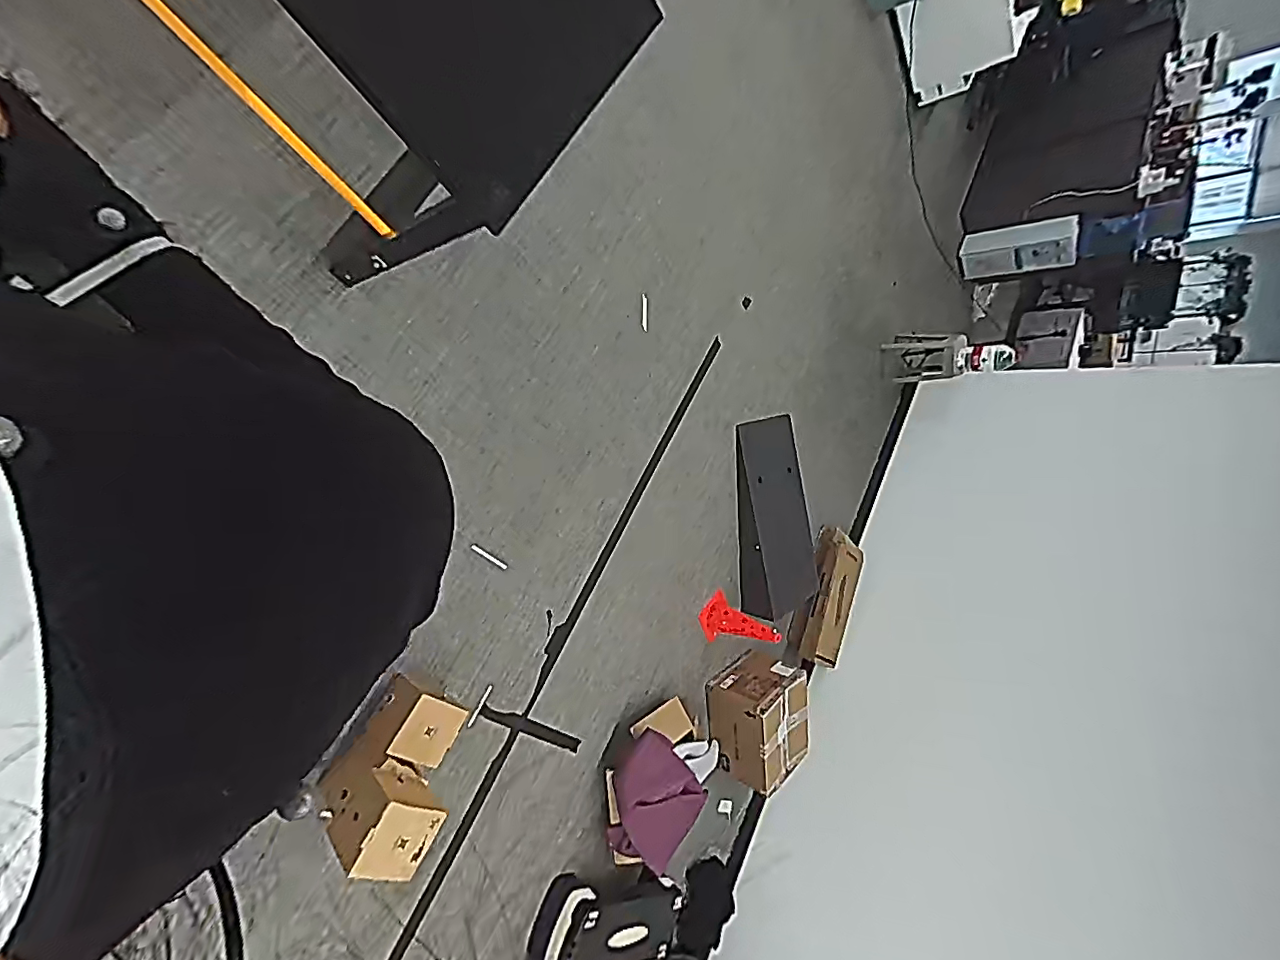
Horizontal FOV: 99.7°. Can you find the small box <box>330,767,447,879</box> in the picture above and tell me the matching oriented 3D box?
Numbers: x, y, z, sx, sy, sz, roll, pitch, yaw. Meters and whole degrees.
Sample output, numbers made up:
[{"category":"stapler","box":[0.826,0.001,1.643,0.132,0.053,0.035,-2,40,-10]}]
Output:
[{"category":"small box","box":[-0.623,0.838,1.334,0.179,0.176,0.168,45,65,-39]}]
